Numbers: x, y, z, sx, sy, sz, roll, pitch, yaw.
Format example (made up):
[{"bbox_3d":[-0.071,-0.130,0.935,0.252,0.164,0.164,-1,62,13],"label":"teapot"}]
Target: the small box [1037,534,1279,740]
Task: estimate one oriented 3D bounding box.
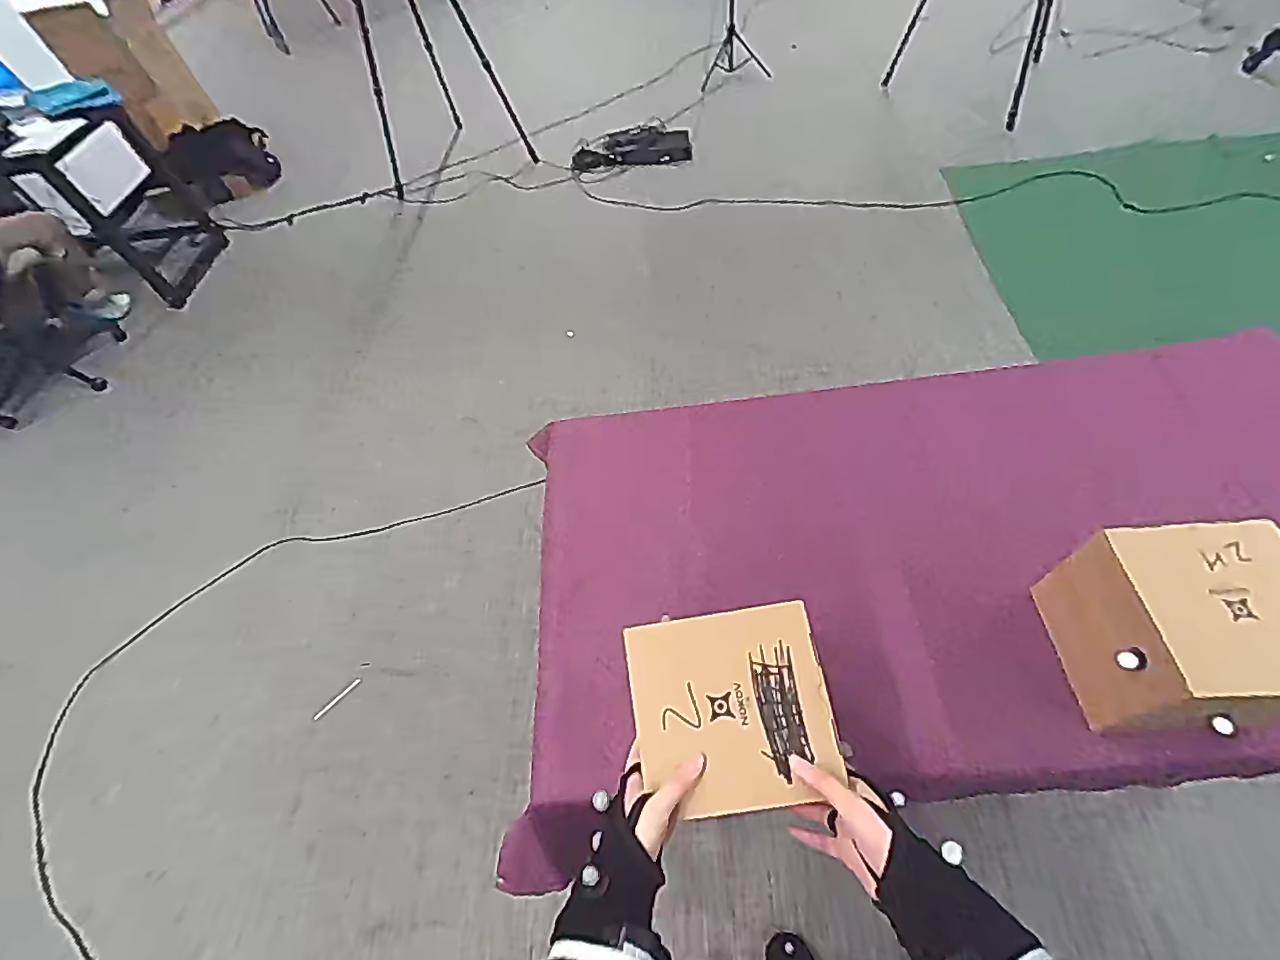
[{"bbox_3d":[0.584,0.177,0.588,0.168,0.176,0.179,-3,54,6],"label":"small box"}]
